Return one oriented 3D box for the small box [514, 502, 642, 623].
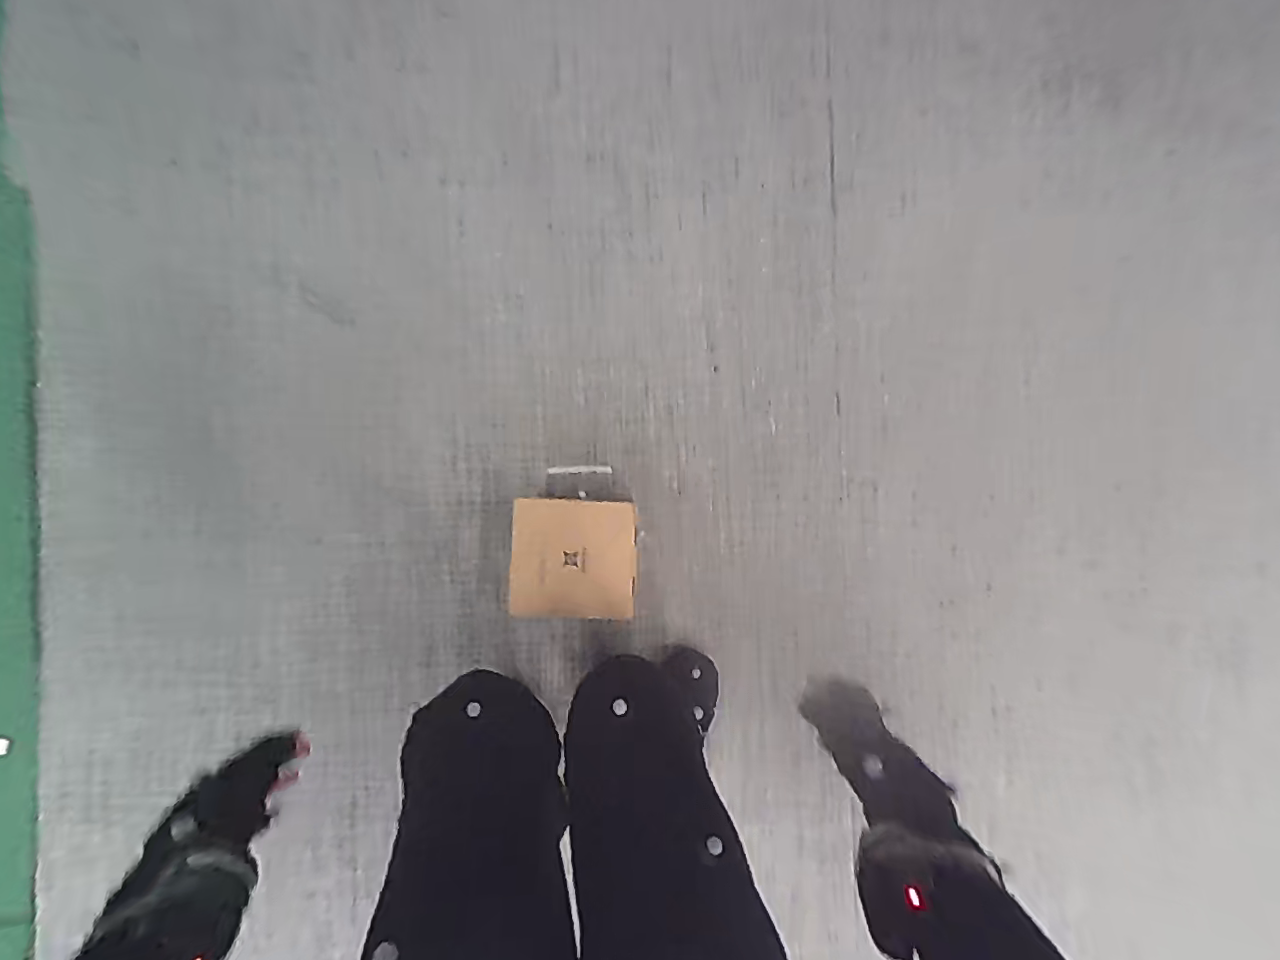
[{"bbox_3d":[-0.089,0.120,0.845,0.179,0.176,0.168,2,87,-1],"label":"small box"}]
